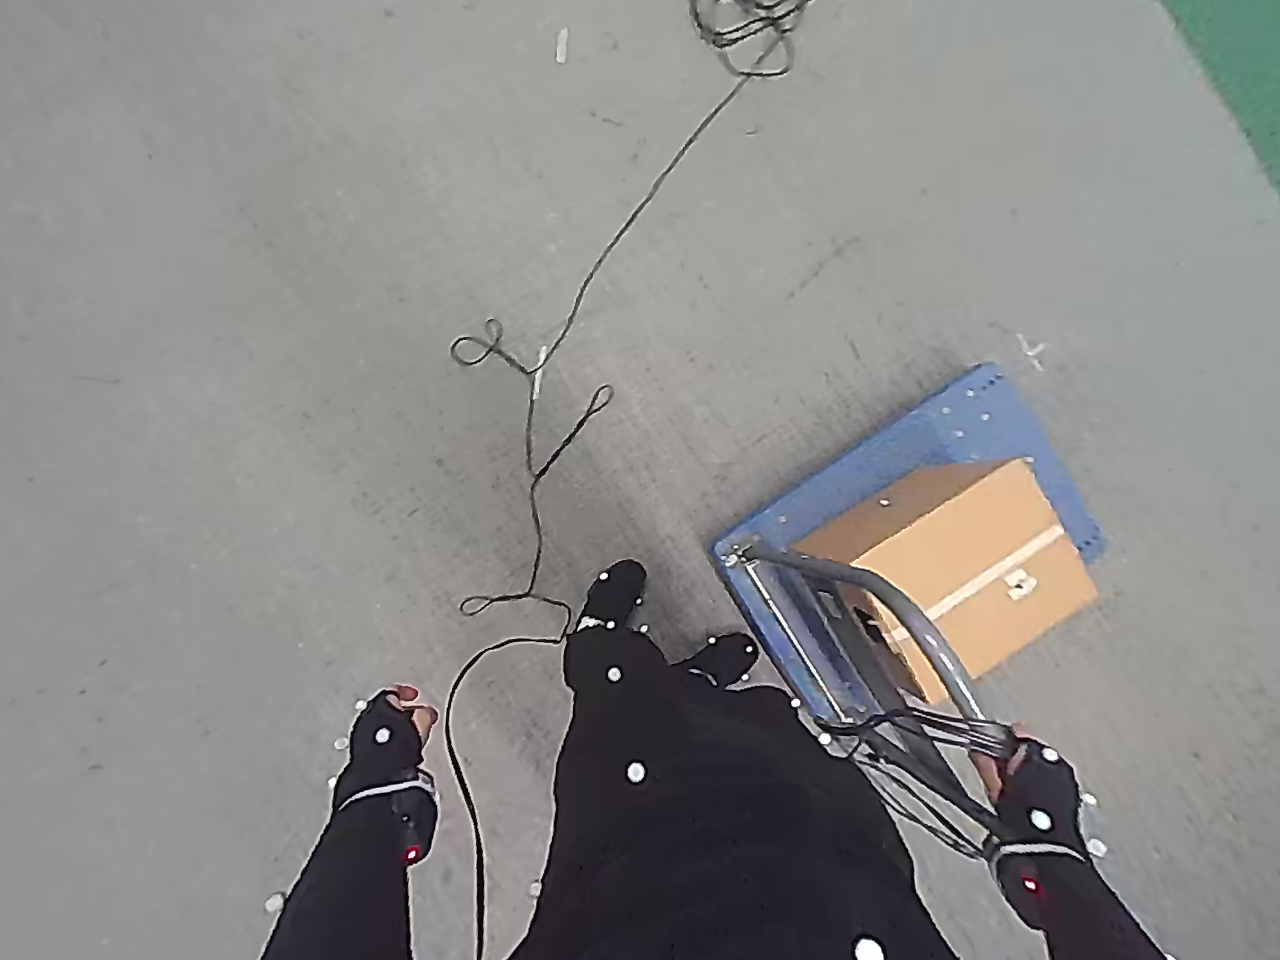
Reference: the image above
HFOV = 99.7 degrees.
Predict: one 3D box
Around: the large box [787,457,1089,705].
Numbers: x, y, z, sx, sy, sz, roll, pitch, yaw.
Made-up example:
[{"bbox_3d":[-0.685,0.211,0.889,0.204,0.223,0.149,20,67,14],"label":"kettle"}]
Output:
[{"bbox_3d":[0.601,0.193,1.157,0.408,0.320,0.320,-30,92,-7],"label":"large box"}]
